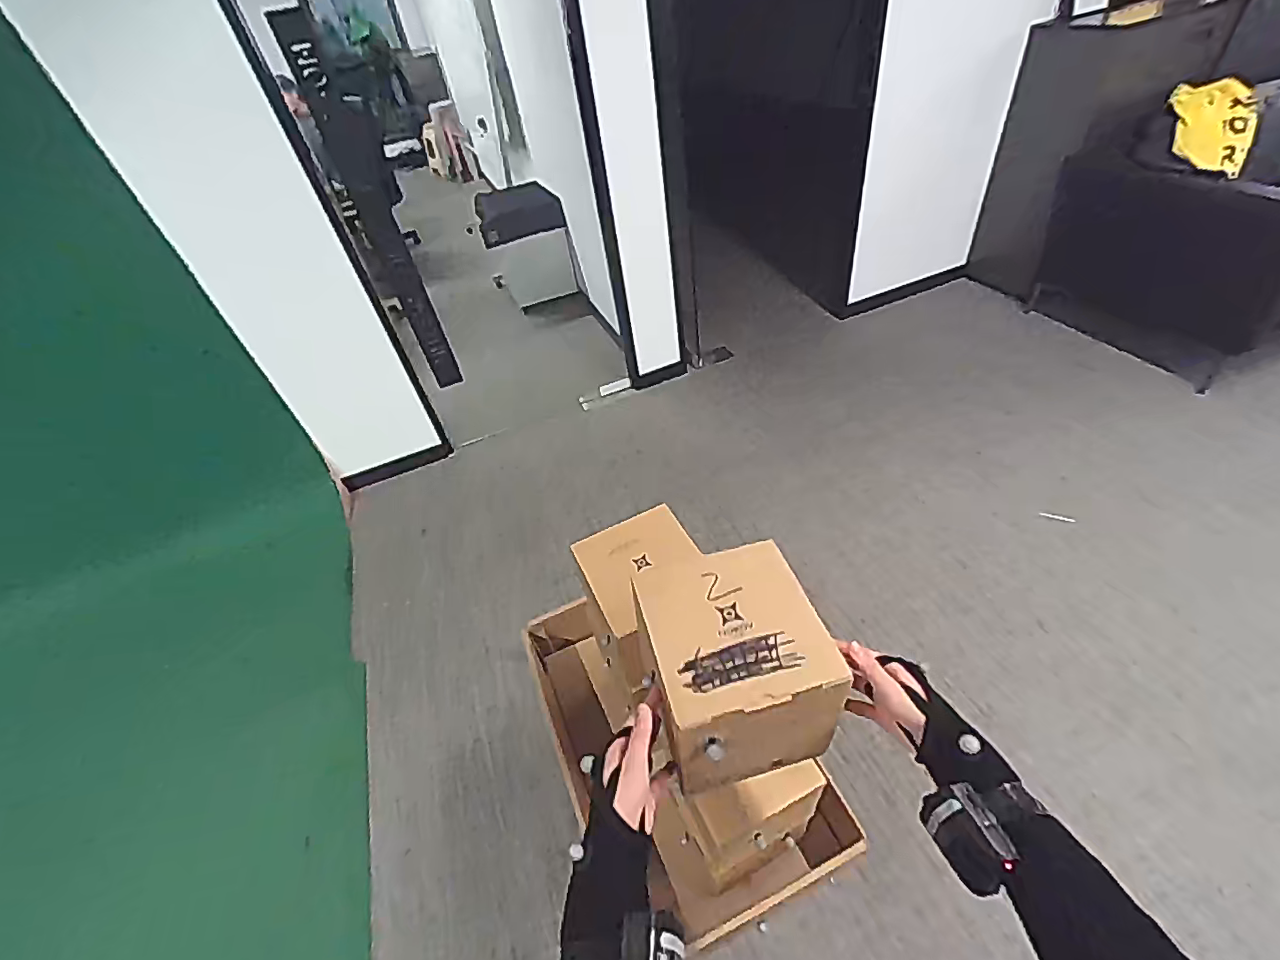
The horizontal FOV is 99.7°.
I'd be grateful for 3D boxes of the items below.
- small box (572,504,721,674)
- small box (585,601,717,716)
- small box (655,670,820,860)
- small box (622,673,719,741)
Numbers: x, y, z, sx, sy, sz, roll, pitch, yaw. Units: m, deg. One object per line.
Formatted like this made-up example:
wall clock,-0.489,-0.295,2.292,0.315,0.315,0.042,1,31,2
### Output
small box,0.013,0.174,0.834,0.168,0.176,0.179,-22,48,-13
small box,0.024,0.288,0.951,0.168,0.176,0.179,-25,48,-15
small box,0.139,0.422,0.793,0.168,0.176,0.179,-22,45,-12
small box,0.045,0.392,1.076,0.168,0.176,0.179,-24,49,-15
